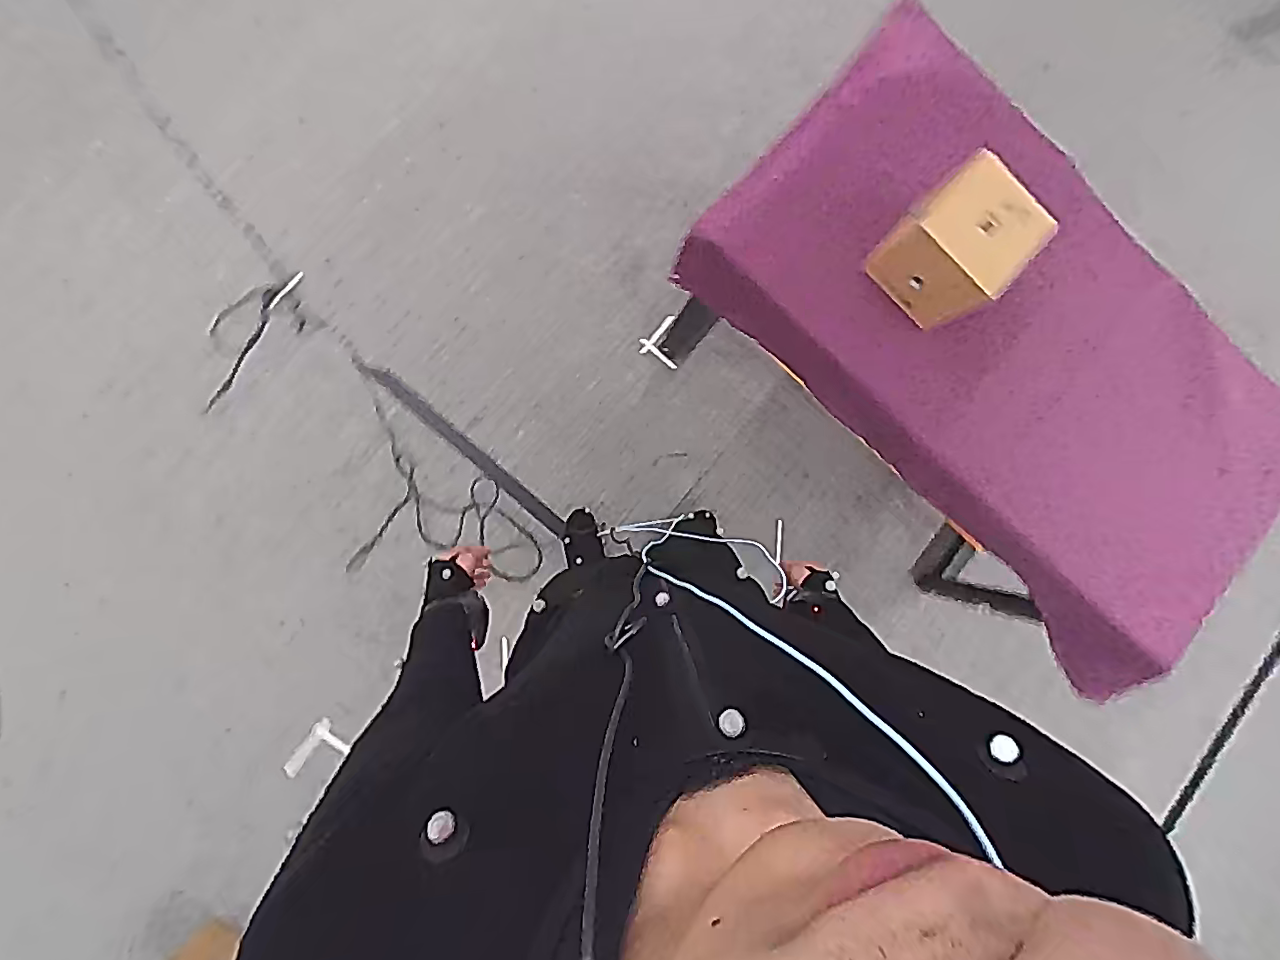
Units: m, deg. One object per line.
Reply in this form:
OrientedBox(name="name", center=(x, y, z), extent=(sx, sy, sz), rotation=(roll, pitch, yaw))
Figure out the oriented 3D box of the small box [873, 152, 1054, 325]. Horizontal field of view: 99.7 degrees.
OrientedBox(name="small box", center=(0.531, -0.395, 0.920), extent=(0.168, 0.176, 0.179), rotation=(44, 84, -6))
